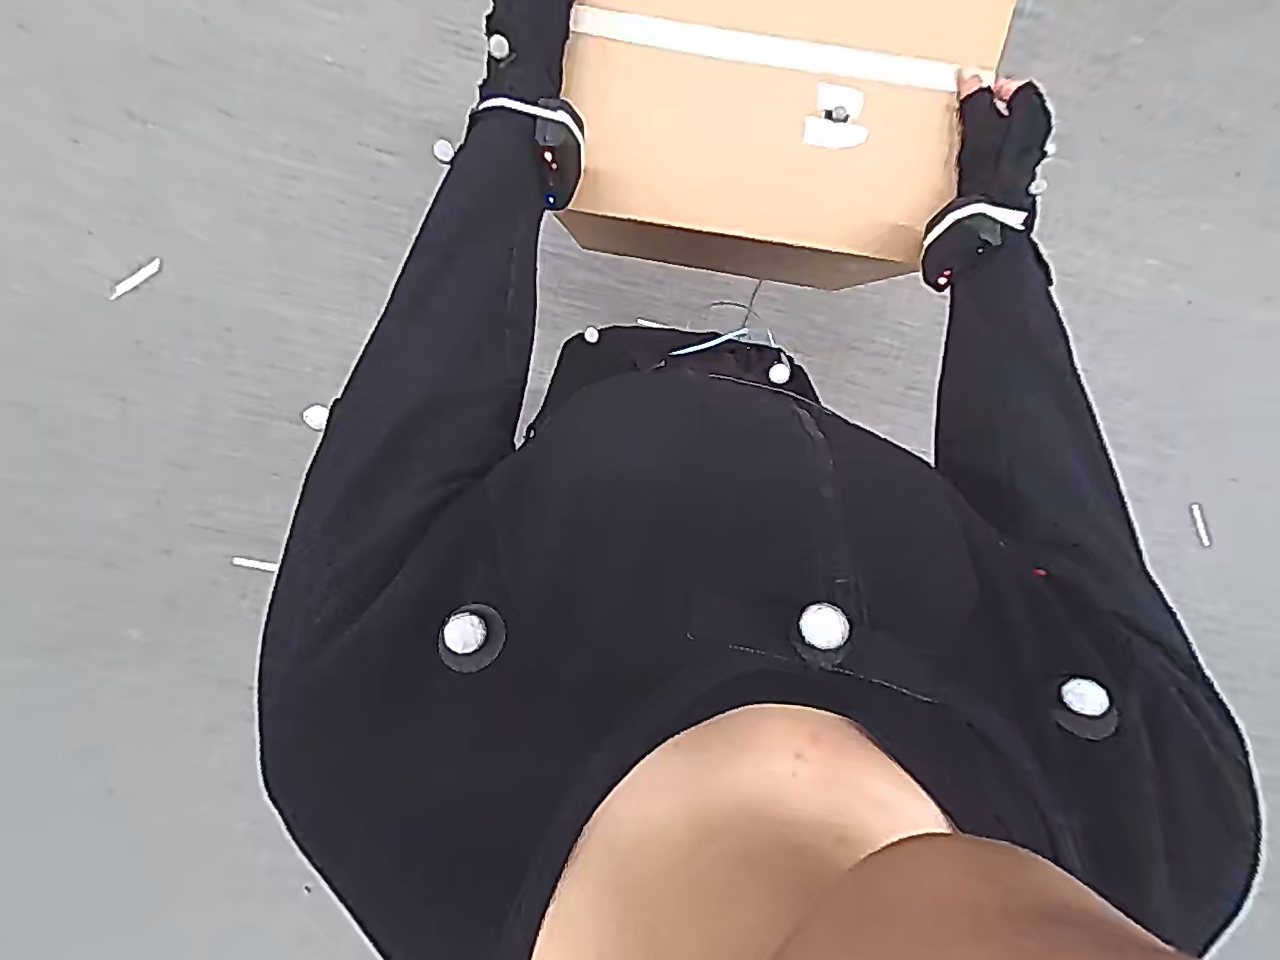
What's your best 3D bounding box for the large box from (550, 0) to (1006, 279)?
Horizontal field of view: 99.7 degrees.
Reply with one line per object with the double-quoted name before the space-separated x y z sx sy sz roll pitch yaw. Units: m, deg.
"large box" 0.126 -0.441 0.645 0.408 0.320 0.320 9 107 -2
